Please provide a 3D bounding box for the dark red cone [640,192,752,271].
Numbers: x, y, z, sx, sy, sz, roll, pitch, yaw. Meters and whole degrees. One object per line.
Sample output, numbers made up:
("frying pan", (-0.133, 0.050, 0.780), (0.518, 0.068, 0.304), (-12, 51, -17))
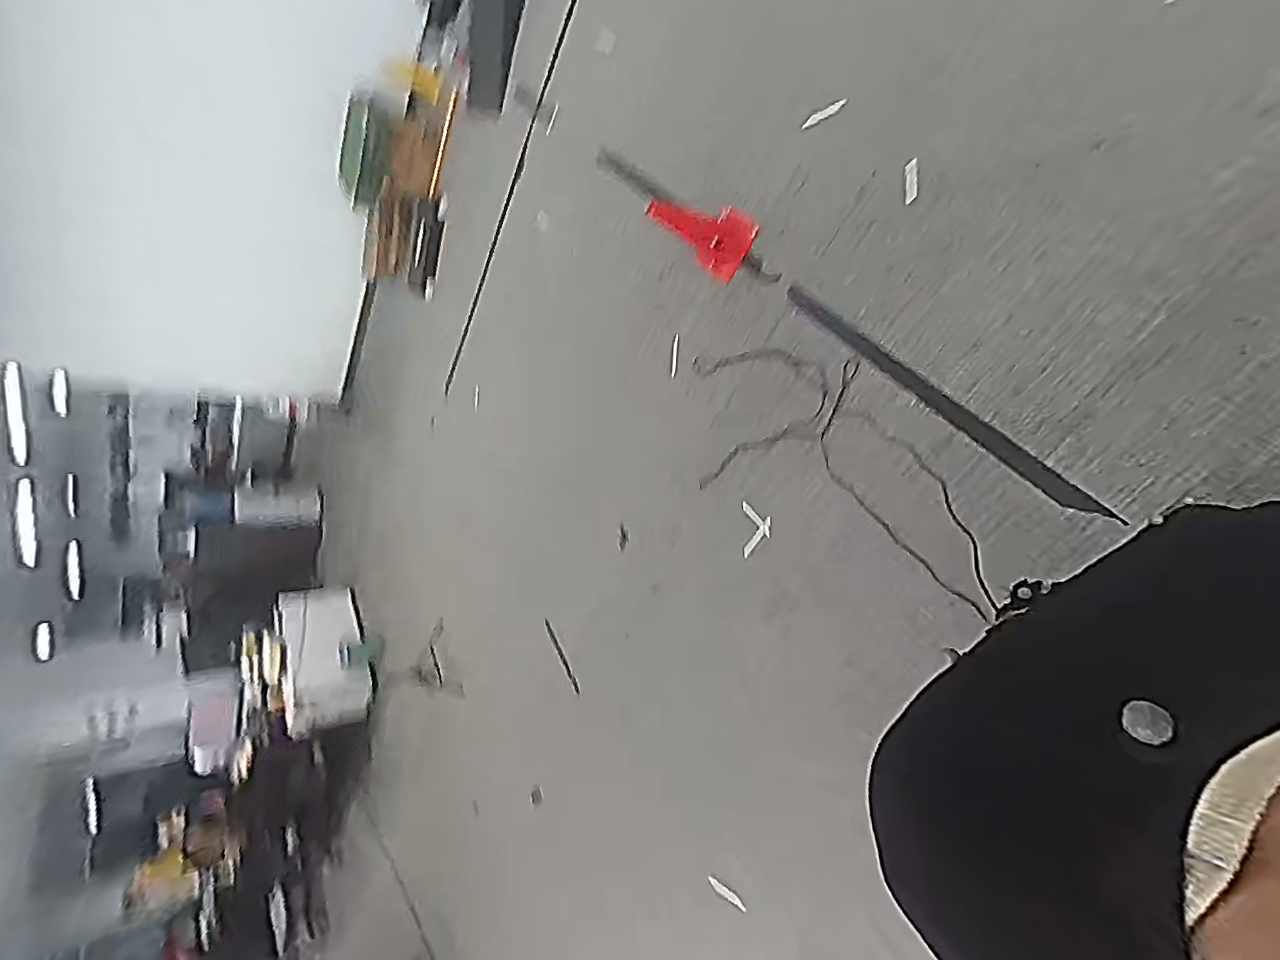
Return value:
("dark red cone", (0.154, -0.826, 1.704), (0.202, 0.394, 0.201), (53, 127, 34))
